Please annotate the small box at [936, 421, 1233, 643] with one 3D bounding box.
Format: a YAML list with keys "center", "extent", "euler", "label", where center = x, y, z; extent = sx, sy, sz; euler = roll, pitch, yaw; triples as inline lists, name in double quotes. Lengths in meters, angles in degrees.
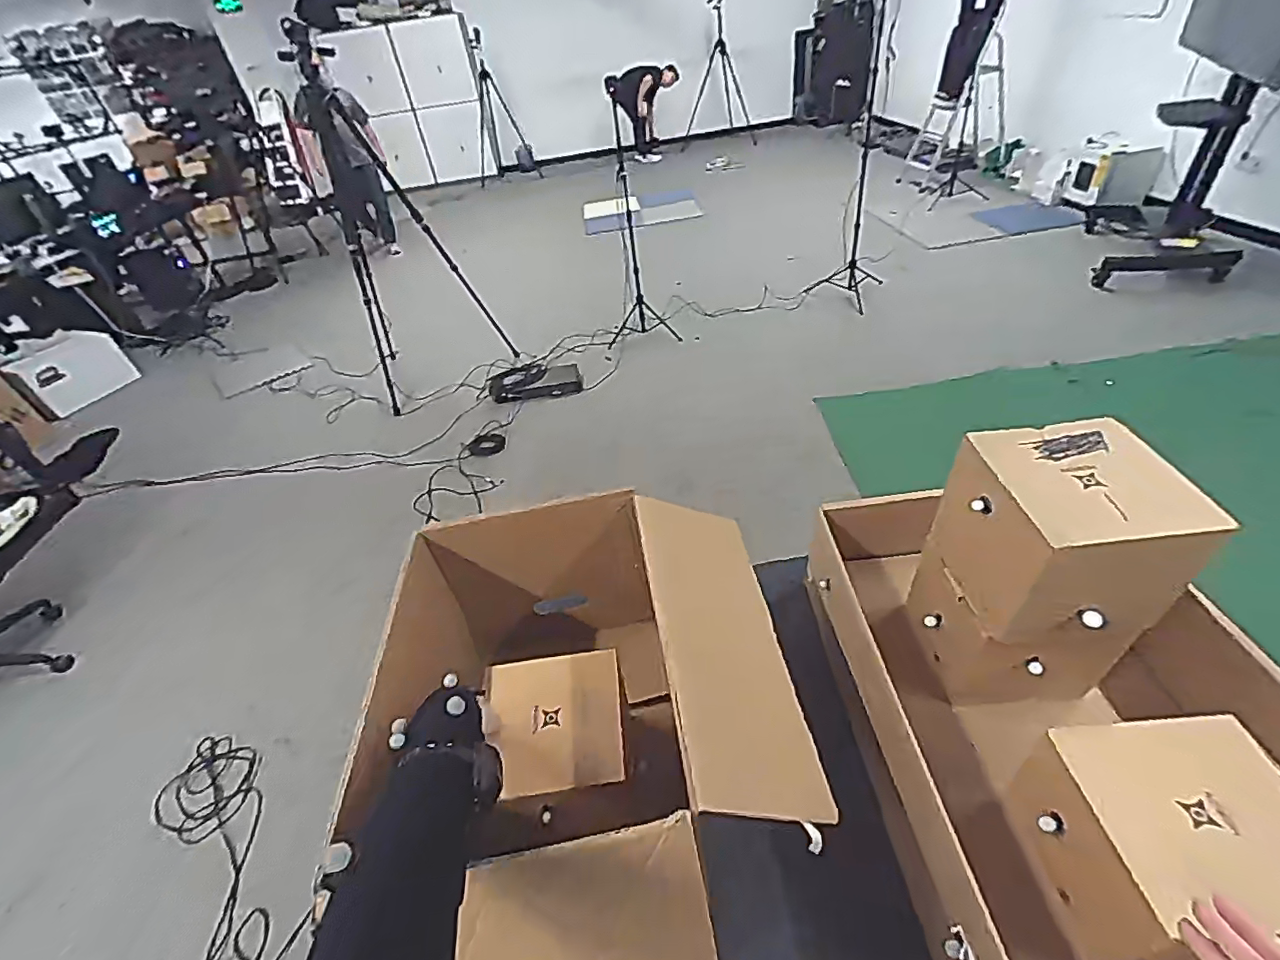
- center: [0.465, 0.058, 0.609]
  extent: [0.168, 0.176, 0.179]
  euler: [-7, 42, 4]
  label: "small box"
